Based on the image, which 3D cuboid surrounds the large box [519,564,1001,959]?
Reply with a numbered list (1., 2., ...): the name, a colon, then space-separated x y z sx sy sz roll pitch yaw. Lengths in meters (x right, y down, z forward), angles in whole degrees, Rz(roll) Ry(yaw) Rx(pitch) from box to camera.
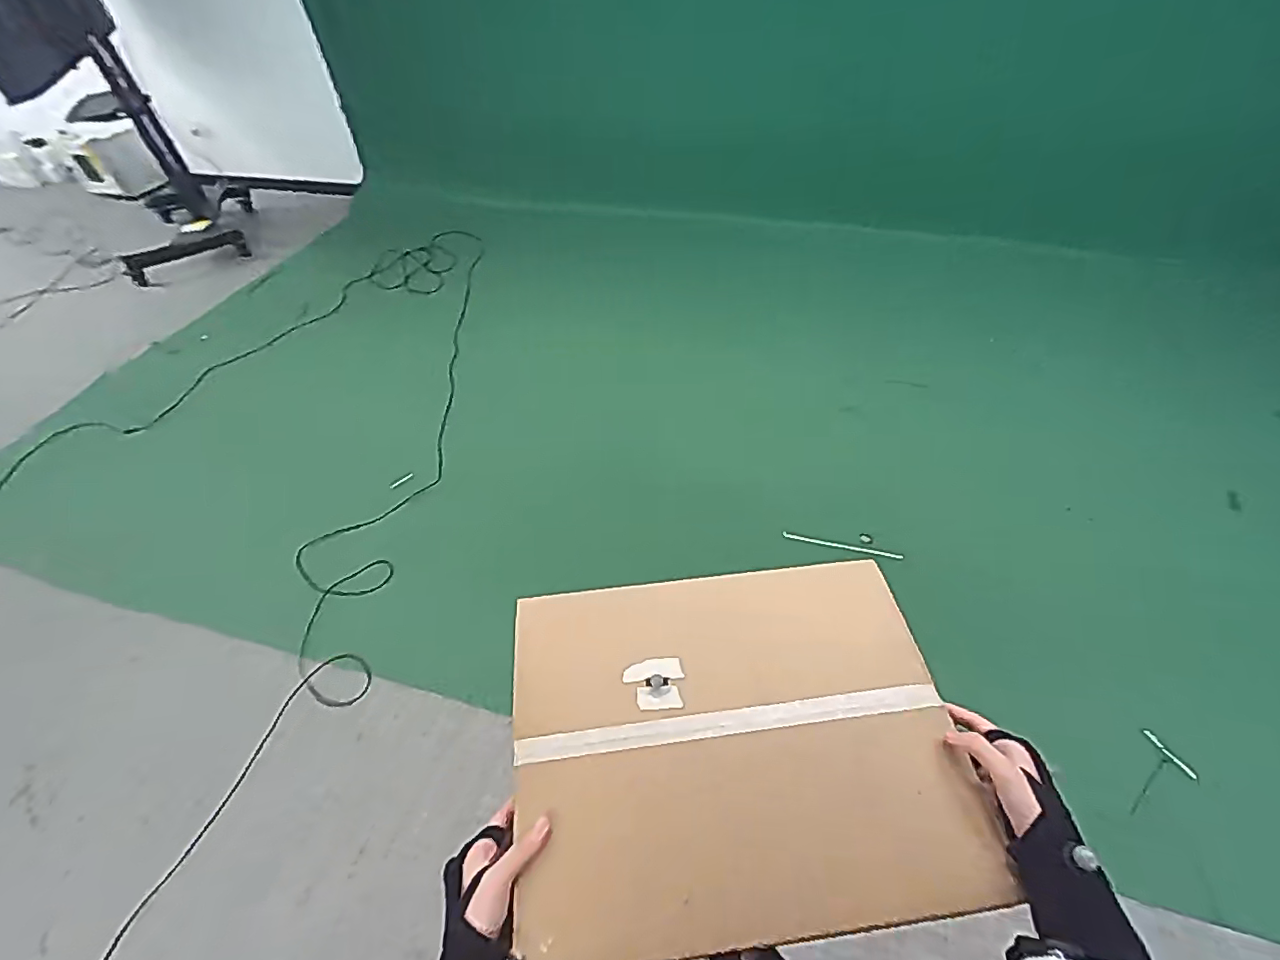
1. large box: 0.089 0.329 0.638 0.408 0.320 0.320 -6 50 -3
